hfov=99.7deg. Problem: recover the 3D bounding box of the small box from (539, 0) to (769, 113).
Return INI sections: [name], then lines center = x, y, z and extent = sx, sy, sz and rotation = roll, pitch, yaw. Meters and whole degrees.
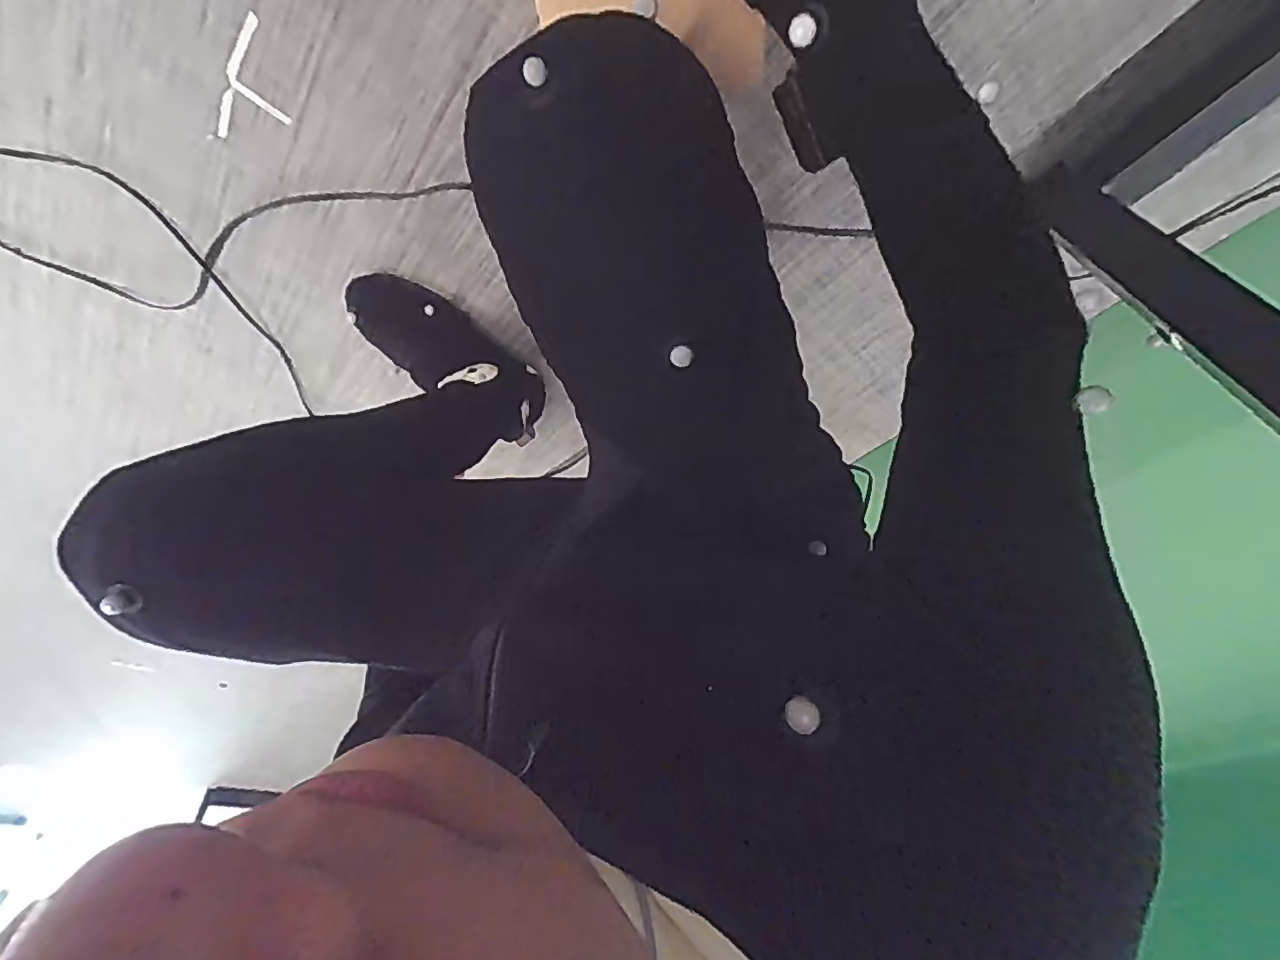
[small box]
center = 0.005, -0.417, 0.415
extent = 0.168, 0.176, 0.179
rotation = -5, 140, 5
